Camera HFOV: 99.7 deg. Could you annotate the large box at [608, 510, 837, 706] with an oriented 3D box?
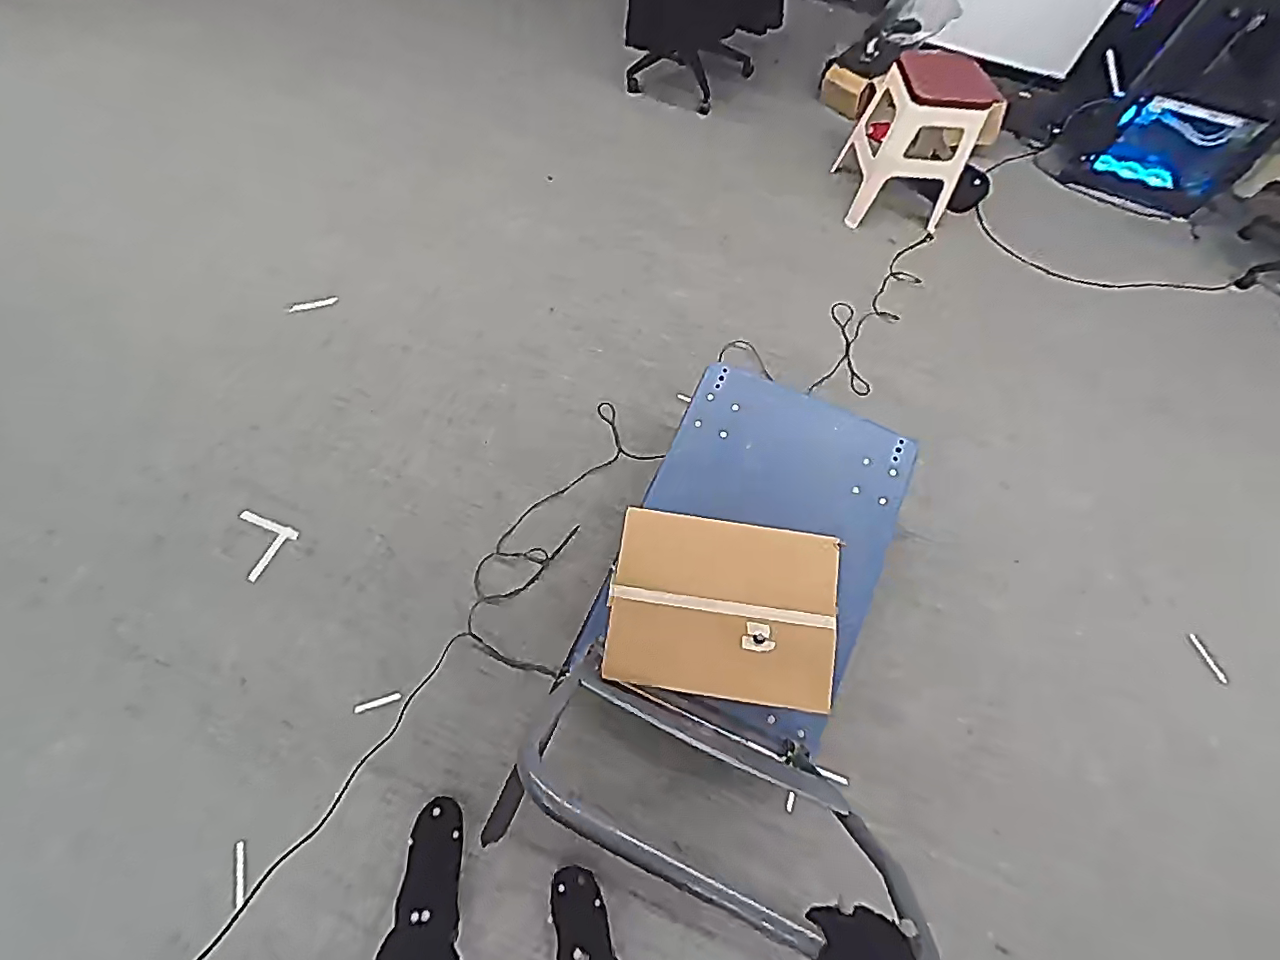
[{"bbox_3d":[0.154,0.264,1.129,0.408,0.320,0.320,8,76,2],"label":"large box"}]
